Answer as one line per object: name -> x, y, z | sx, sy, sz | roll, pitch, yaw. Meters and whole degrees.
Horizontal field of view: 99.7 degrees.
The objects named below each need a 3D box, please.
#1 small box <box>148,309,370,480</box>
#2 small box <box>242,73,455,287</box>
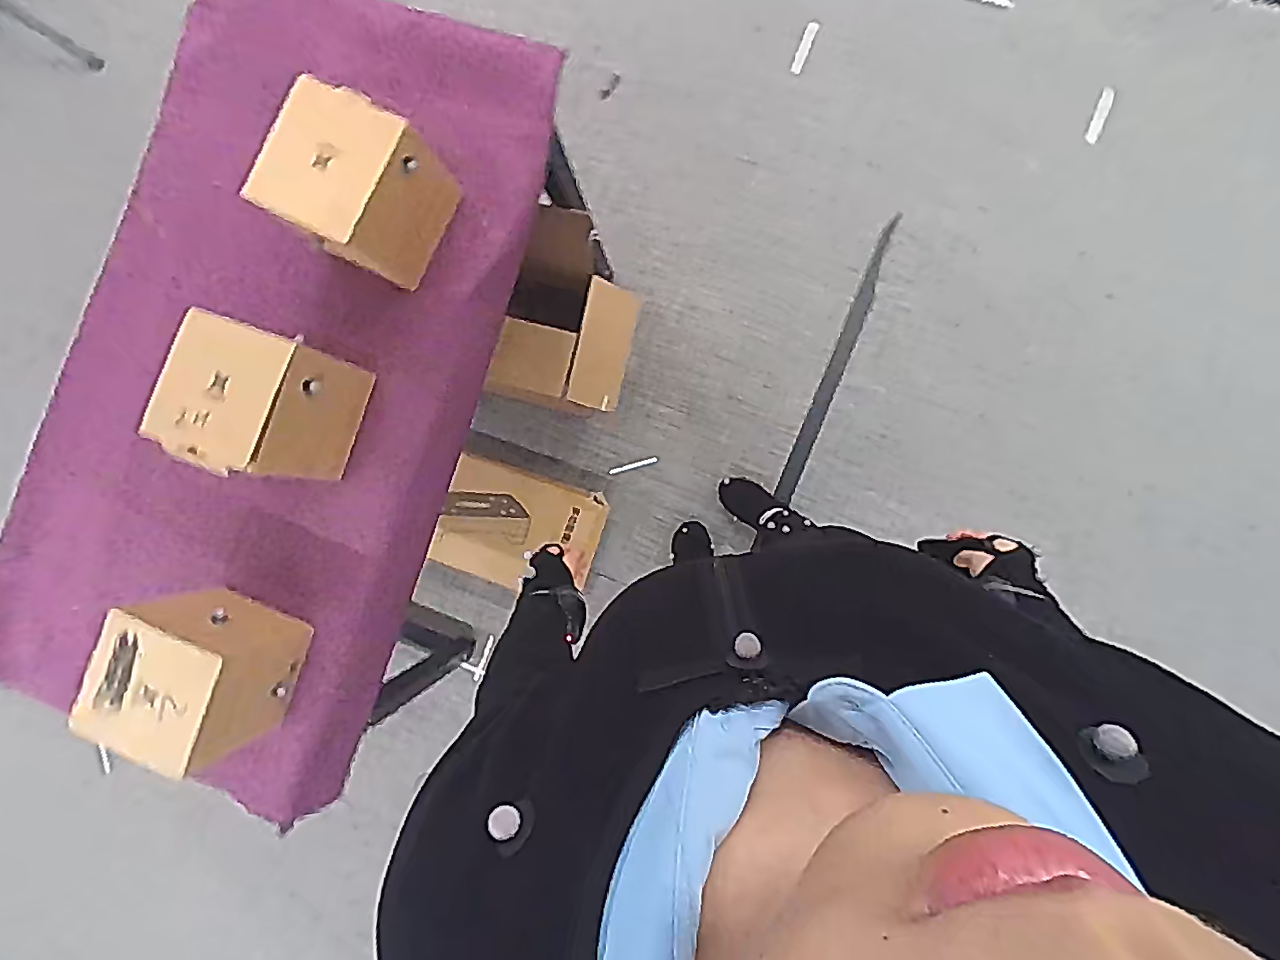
small box -> -0.516, -0.109, 0.759 | 0.168, 0.176, 0.179 | 19, 90, 9
small box -> -0.390, -0.401, 0.756 | 0.168, 0.176, 0.179 | 26, 91, 6
